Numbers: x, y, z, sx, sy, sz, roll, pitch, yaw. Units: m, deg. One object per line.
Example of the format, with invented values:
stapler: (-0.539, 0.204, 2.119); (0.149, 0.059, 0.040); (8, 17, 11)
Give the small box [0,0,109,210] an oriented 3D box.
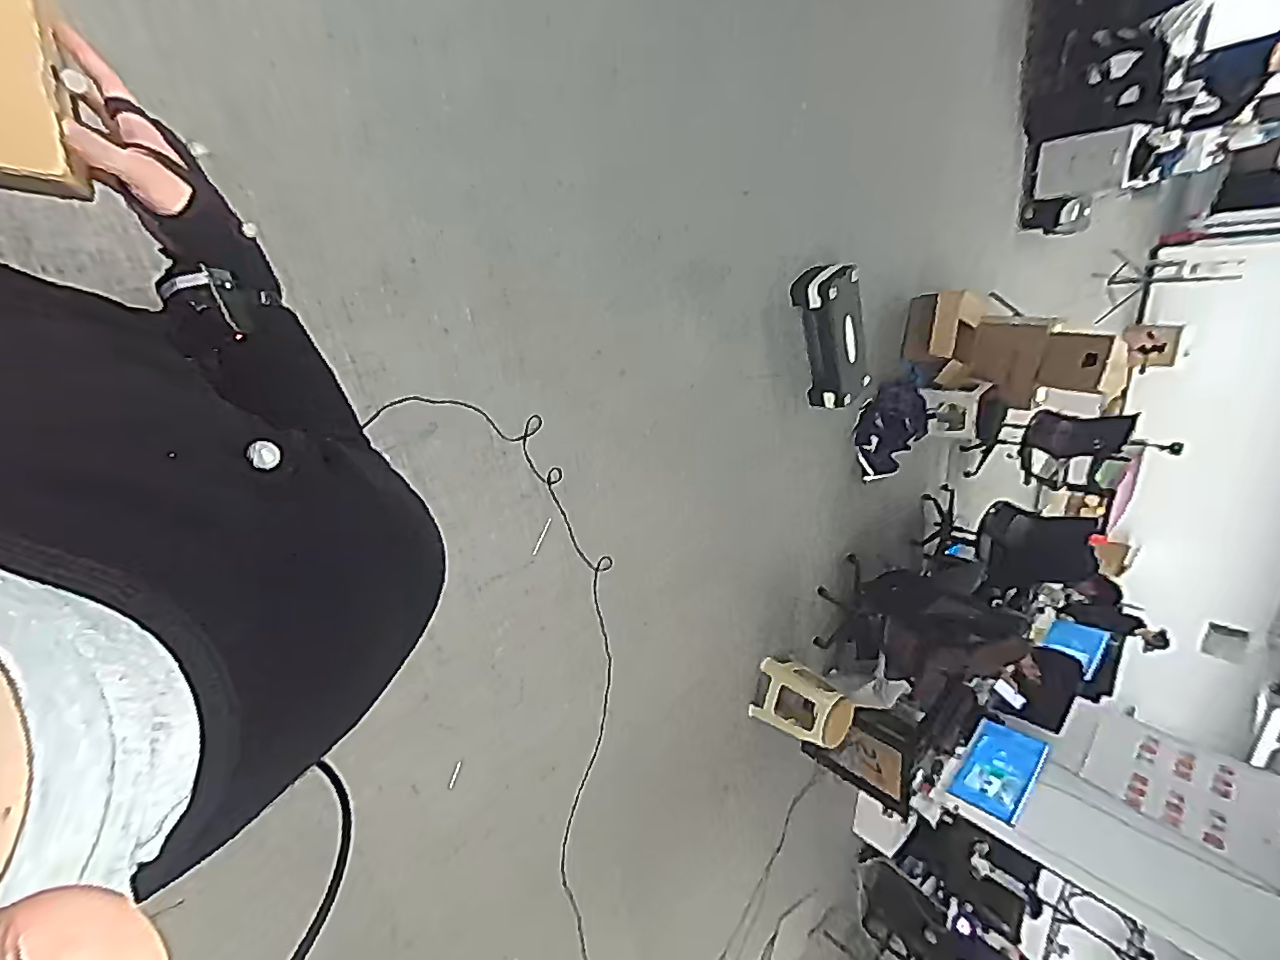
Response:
small box: (-0.461, -0.278, 0.335); (0.168, 0.176, 0.179); (-10, 113, -40)
